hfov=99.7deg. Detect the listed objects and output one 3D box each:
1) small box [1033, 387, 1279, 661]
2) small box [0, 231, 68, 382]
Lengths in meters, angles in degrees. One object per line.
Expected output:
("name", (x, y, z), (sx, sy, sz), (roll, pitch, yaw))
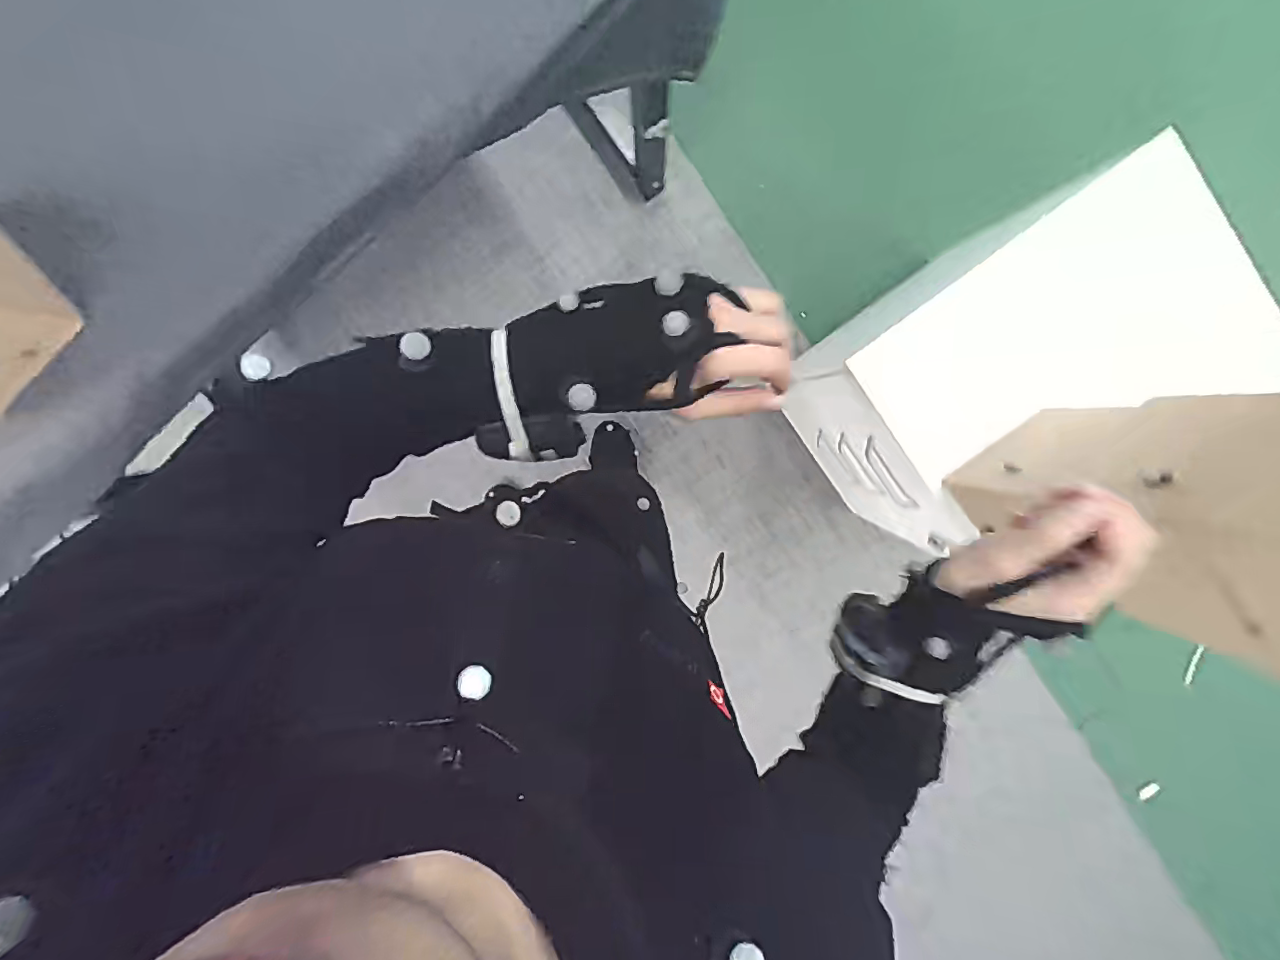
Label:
("small box", (0.532, 0.030, 0.521), (0.179, 0.176, 0.168), (-39, 96, 5))
("small box", (-0.751, -0.191, 0.532), (0.168, 0.176, 0.179), (-41, 95, 6))
